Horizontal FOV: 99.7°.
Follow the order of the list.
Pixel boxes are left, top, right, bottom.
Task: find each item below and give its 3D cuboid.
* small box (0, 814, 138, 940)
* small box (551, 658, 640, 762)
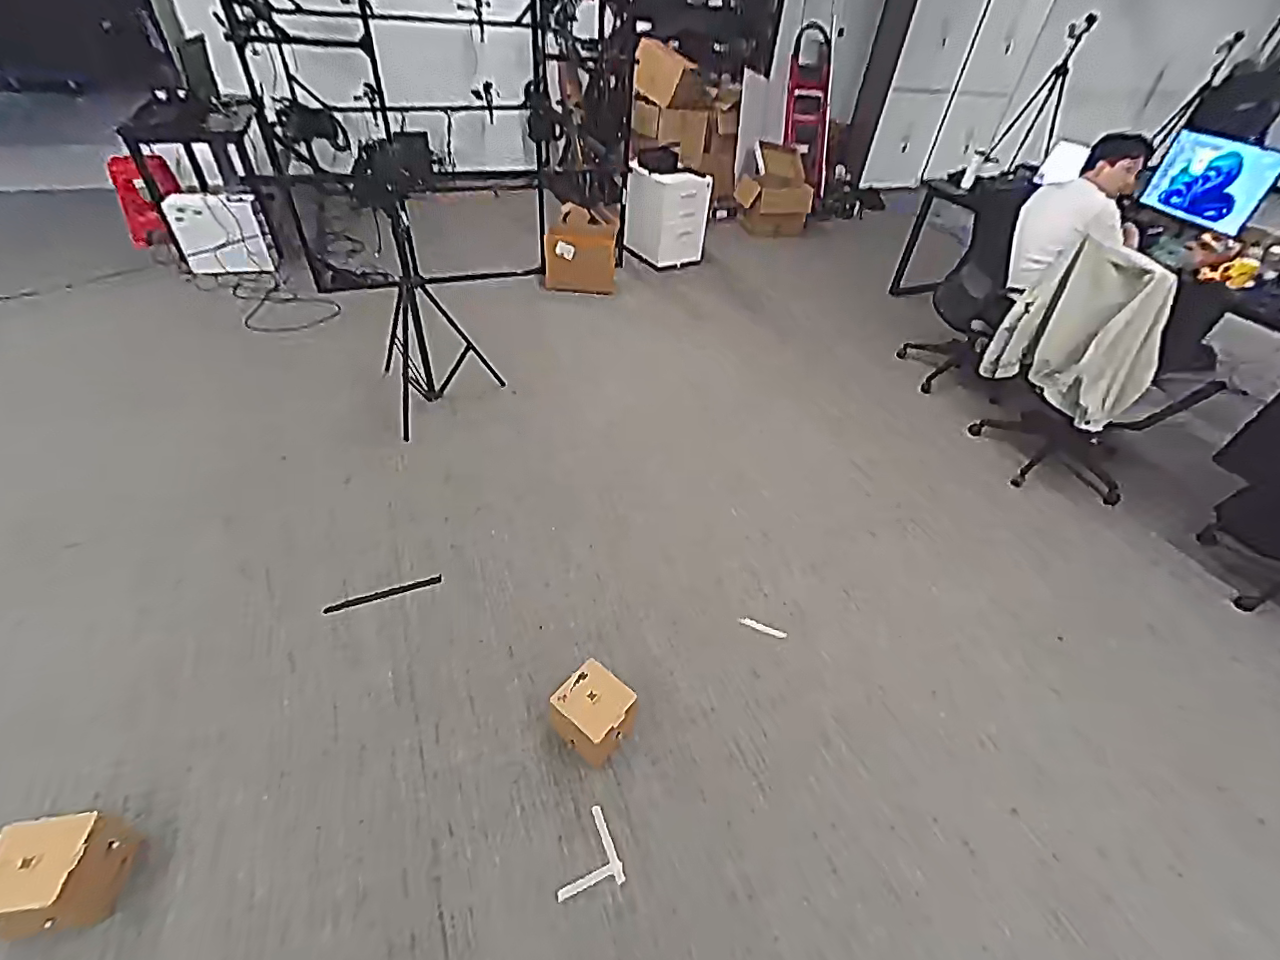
[{"bbox_3d":[-1.217,0.826,1.126,0.179,0.176,0.168,-4,41,-10],"label":"small box"},{"bbox_3d":[-0.121,0.628,1.459,0.179,0.176,0.168,32,48,25],"label":"small box"}]
